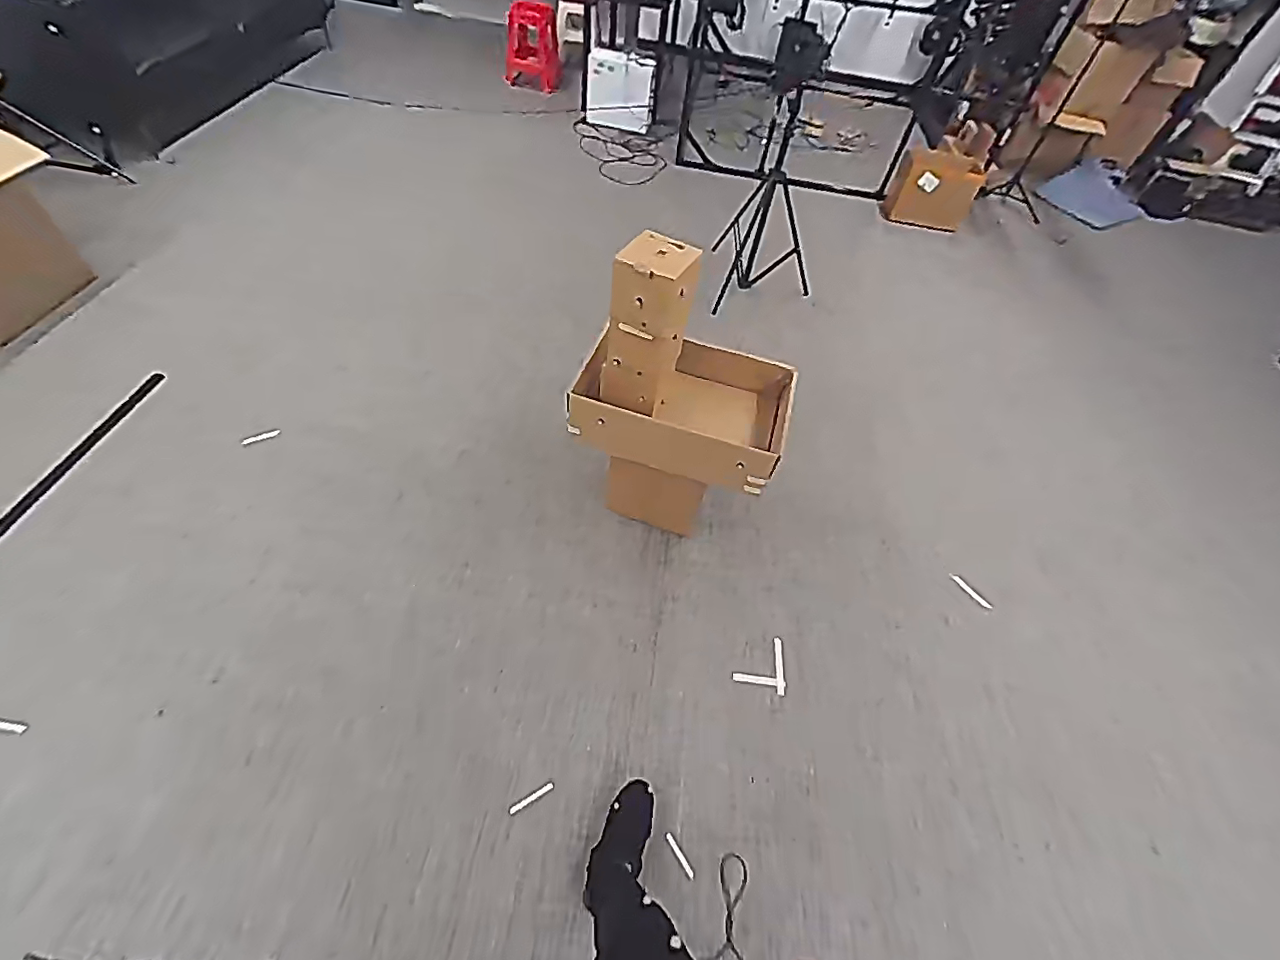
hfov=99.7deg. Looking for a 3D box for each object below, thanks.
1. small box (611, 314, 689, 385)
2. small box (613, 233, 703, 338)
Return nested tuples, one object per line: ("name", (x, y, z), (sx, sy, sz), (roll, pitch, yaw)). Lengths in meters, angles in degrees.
("small box", (0.026, -0.397, 1.515), (0.168, 0.176, 0.179), (23, 52, 11))
("small box", (0.043, -0.493, 1.383), (0.168, 0.176, 0.179), (26, 54, 13))
